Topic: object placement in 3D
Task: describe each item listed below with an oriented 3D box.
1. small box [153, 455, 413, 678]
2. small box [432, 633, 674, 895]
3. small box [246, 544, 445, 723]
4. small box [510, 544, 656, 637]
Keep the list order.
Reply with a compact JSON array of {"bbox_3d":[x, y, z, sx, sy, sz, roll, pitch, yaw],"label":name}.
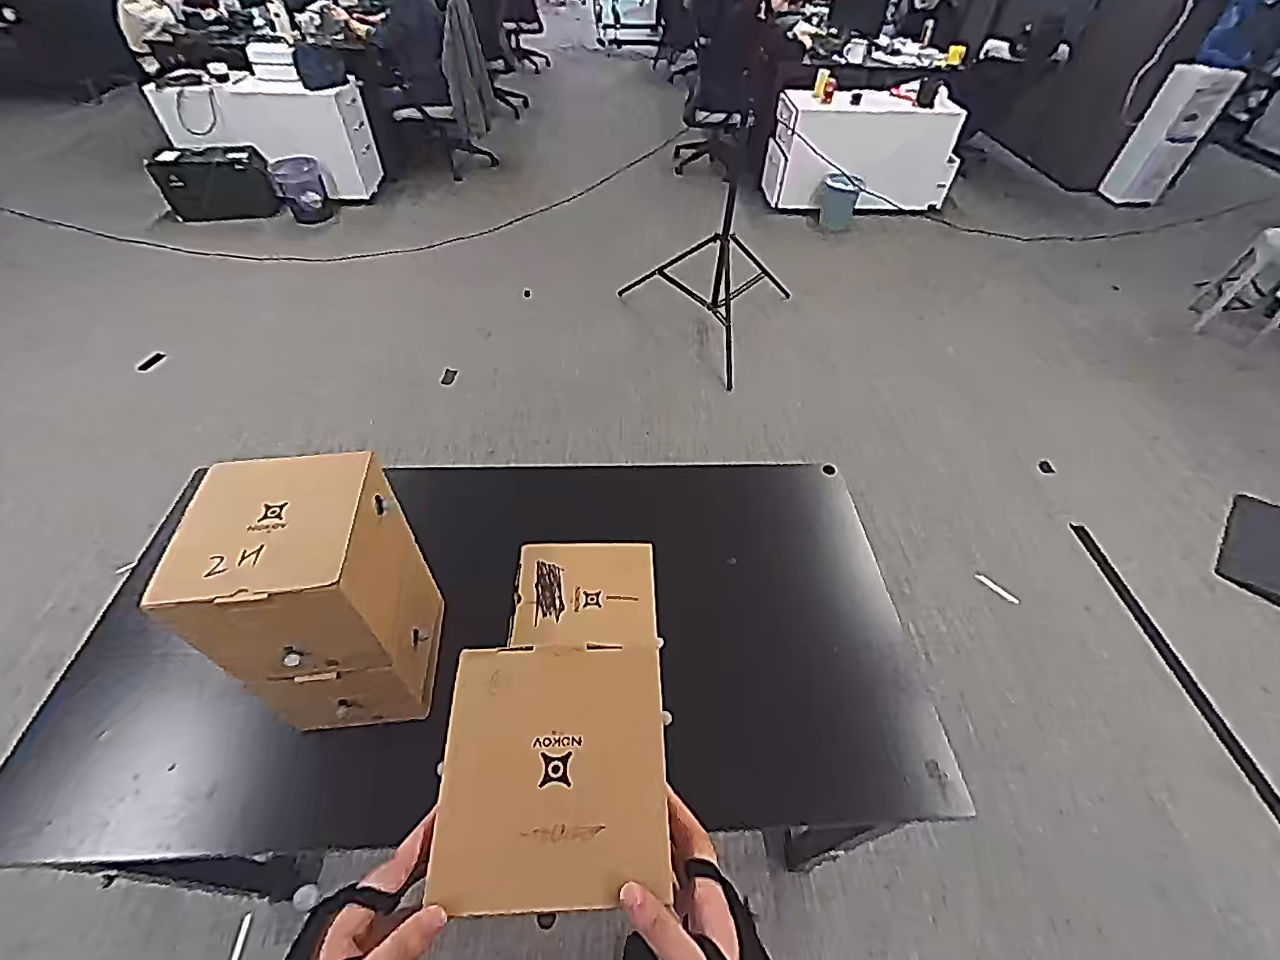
[{"bbox_3d":[-0.365,0.095,0.600,0.168,0.176,0.179,-5,49,-6],"label":"small box"},{"bbox_3d":[-0.065,0.249,0.475,0.168,0.176,0.179,-1,55,-4],"label":"small box"},{"bbox_3d":[-0.370,0.209,0.721,0.168,0.176,0.179,-4,49,-6],"label":"small box"},{"bbox_3d":[-0.070,0.202,0.737,0.179,0.176,0.168,0,48,-3],"label":"small box"}]
